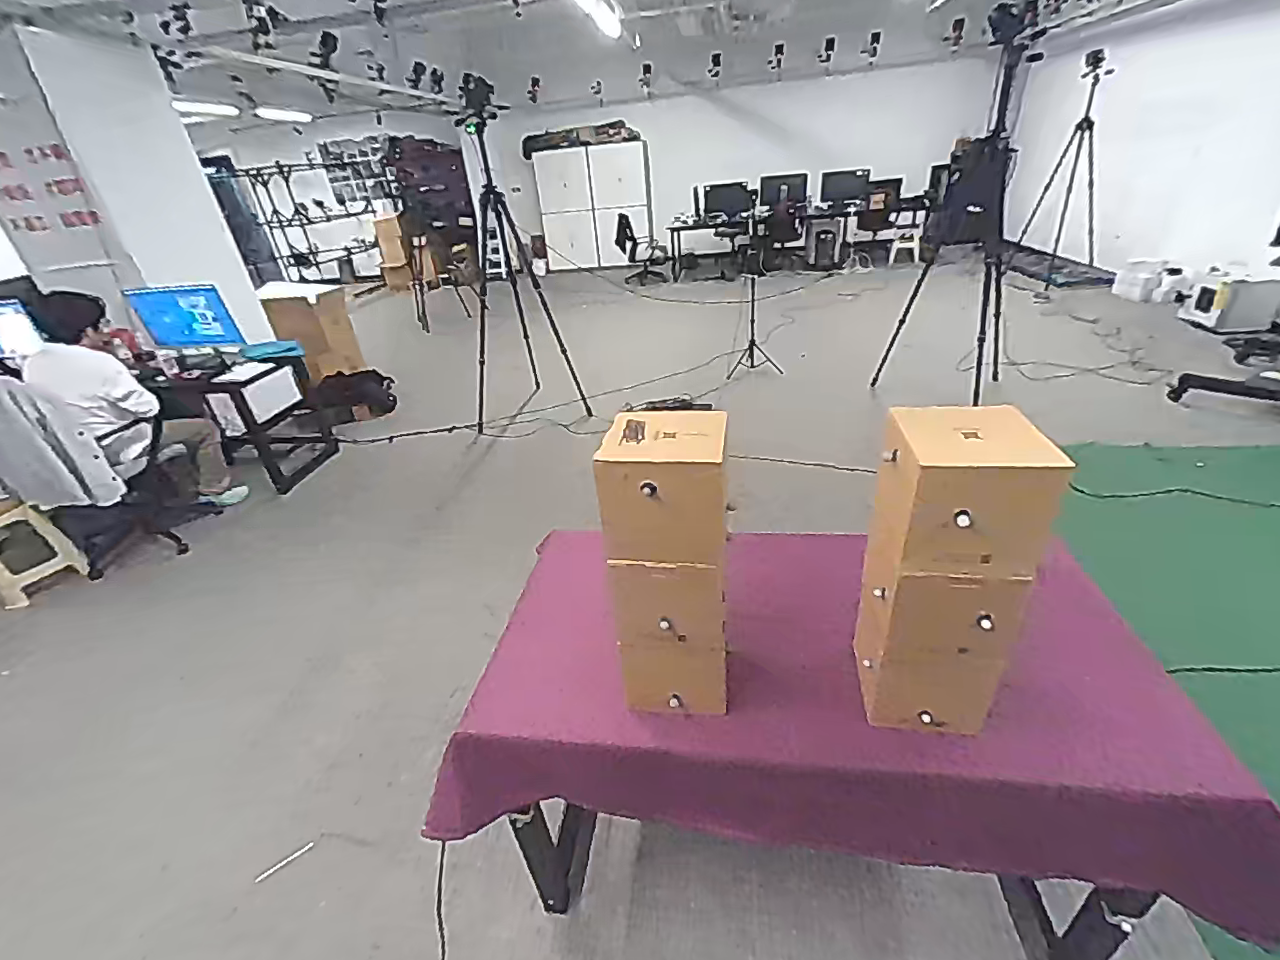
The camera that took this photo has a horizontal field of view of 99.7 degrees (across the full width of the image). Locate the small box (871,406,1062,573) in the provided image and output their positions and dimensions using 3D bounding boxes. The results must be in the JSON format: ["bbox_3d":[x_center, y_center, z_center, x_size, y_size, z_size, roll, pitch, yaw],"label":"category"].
[{"bbox_3d":[0.427,0.011,0.743,0.168,0.176,0.179,0,31,10],"label":"small box"}]

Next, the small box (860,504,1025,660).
[{"bbox_3d":[0.443,0.151,0.824,0.168,0.176,0.179,0,31,10],"label":"small box"}]

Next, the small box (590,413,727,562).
[{"bbox_3d":[0.038,0.008,0.812,0.179,0.176,0.168,1,31,11],"label":"small box"}]

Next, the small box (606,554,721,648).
[{"bbox_3d":[0.048,0.150,0.895,0.168,0.176,0.179,-1,31,10],"label":"small box"}]

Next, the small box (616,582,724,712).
[{"bbox_3d":[0.061,0.295,0.974,0.179,0.176,0.168,0,30,8],"label":"small box"}]
